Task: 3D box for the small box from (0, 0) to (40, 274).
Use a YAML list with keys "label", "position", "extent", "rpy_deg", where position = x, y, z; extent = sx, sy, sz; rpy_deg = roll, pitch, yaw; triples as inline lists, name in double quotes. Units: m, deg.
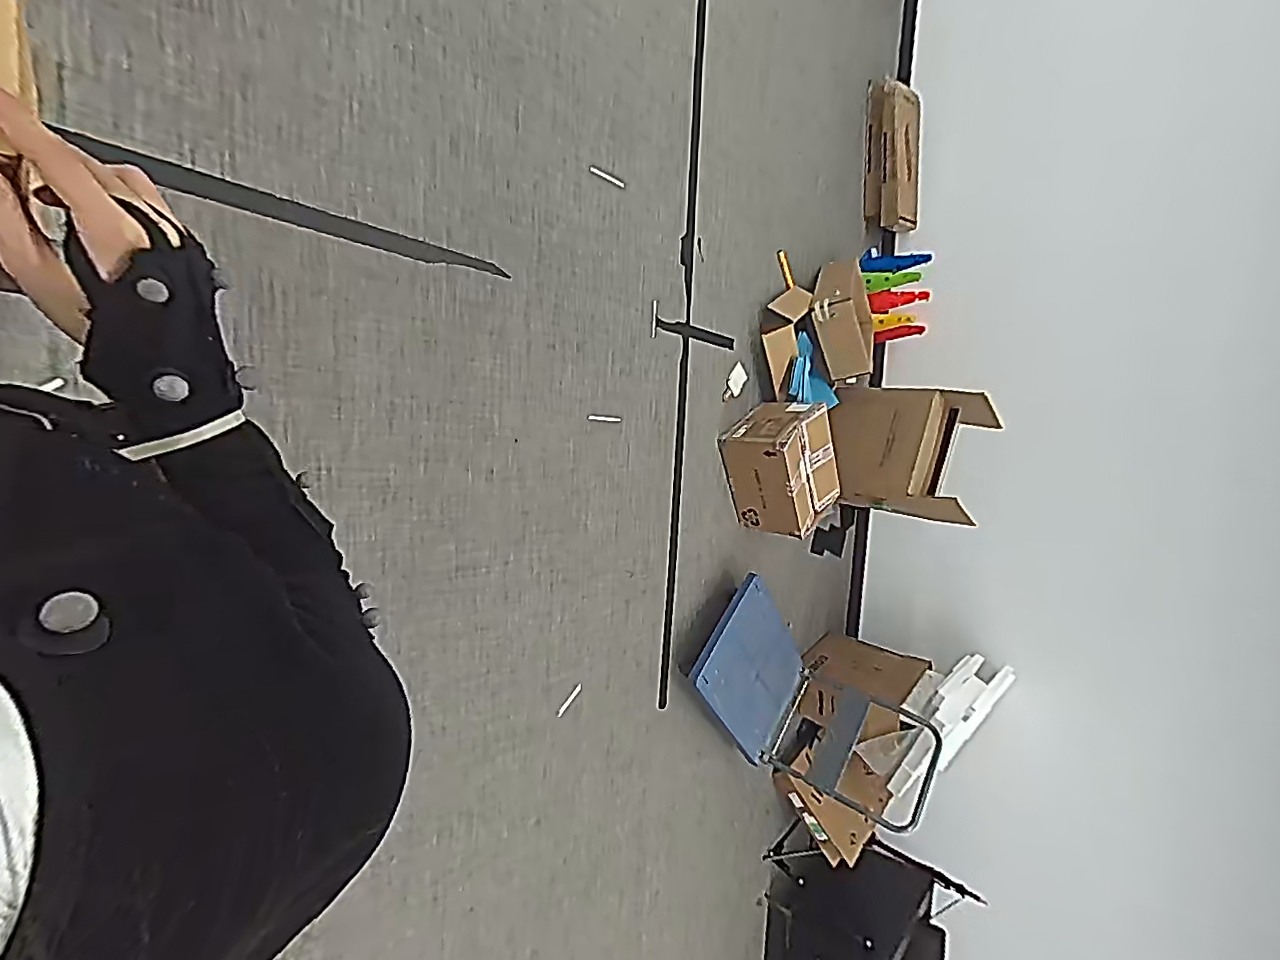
- label: "small box"
  position: [-0.427, -0.221, 0.266]
  extent: [0.179, 0.176, 0.168]
  rpy_deg: [-2, 82, -46]
